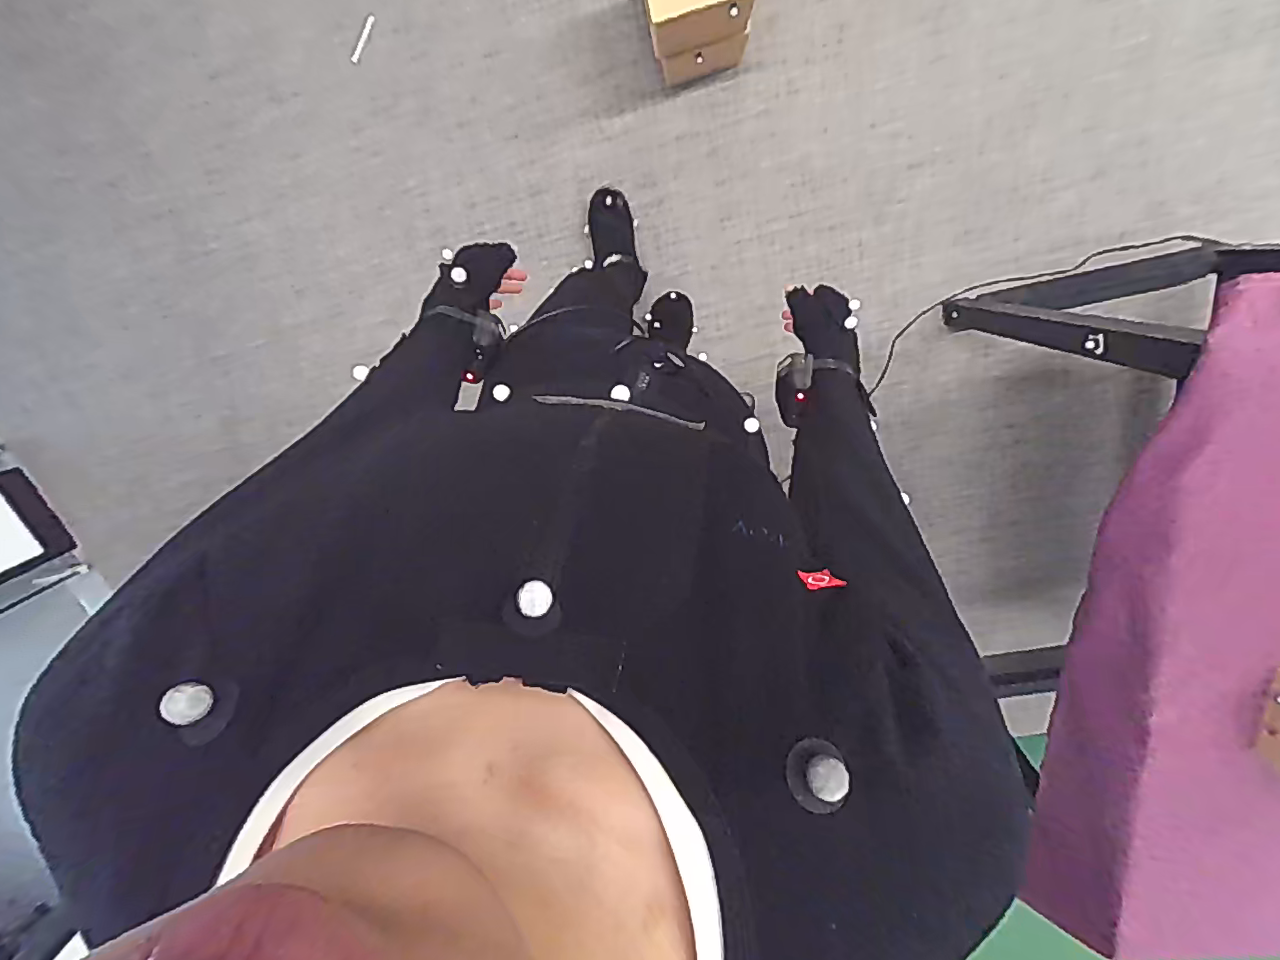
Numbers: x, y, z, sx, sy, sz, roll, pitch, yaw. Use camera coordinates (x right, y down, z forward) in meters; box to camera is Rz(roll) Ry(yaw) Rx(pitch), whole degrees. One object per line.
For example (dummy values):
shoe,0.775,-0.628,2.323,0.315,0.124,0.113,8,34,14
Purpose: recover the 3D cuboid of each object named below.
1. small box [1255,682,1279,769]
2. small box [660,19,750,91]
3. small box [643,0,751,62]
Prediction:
small box,1.007,0.360,0.724,0.179,0.176,0.168,-9,111,7
small box,0.111,-0.911,1.064,0.168,0.176,0.179,-12,110,9
small box,0.089,-0.850,0.913,0.179,0.176,0.168,-13,110,8
